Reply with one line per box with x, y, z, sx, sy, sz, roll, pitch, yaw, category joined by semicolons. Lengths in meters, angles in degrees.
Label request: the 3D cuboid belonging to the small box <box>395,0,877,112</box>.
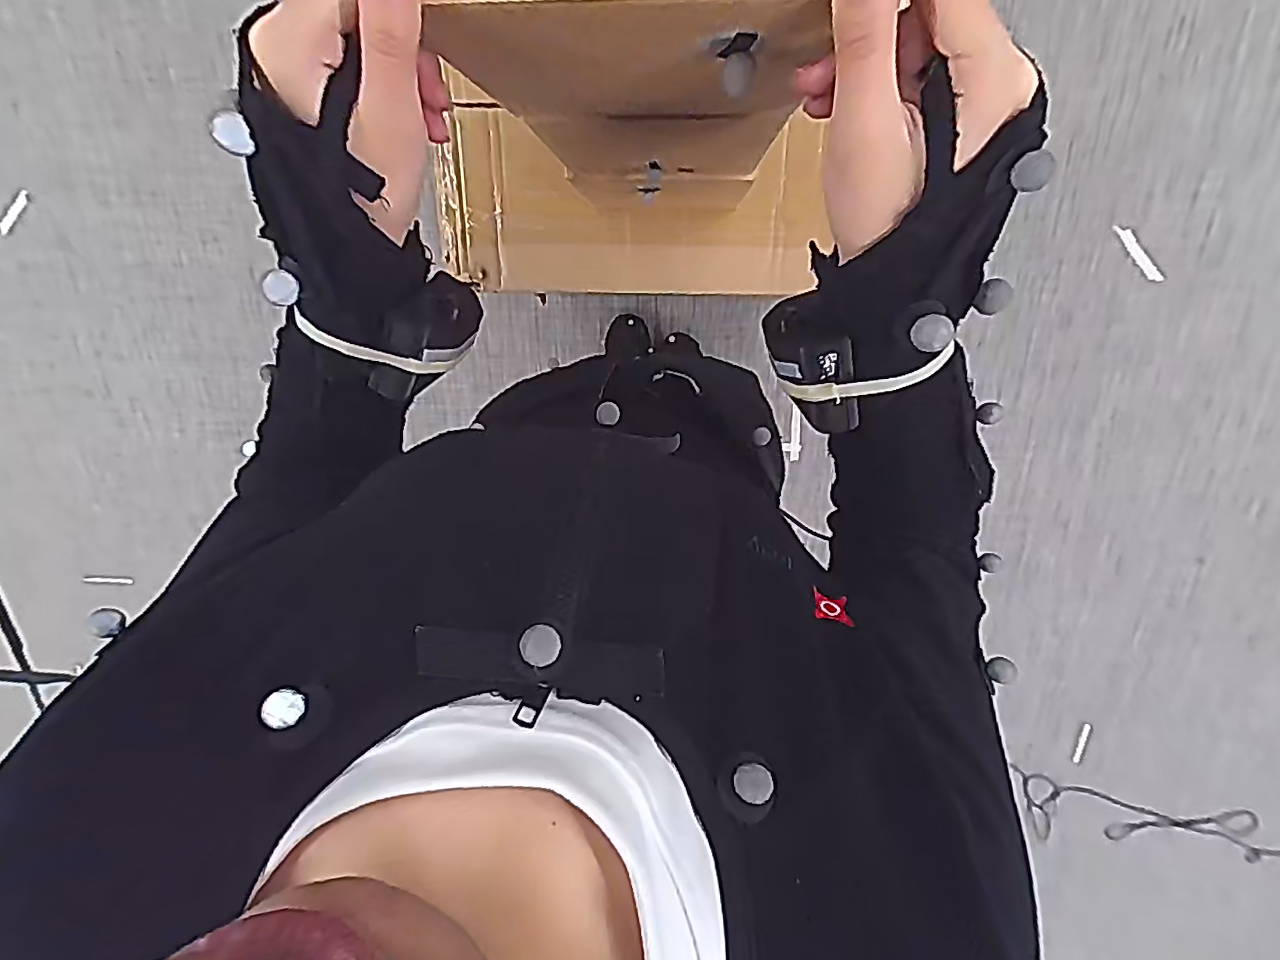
0.003;-0.269;0.222;0.179;0.176;0.168;2;112;4;small box

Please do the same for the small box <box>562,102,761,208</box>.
0.025;-0.374;0.538;0.179;0.176;0.168;2;109;3;small box
